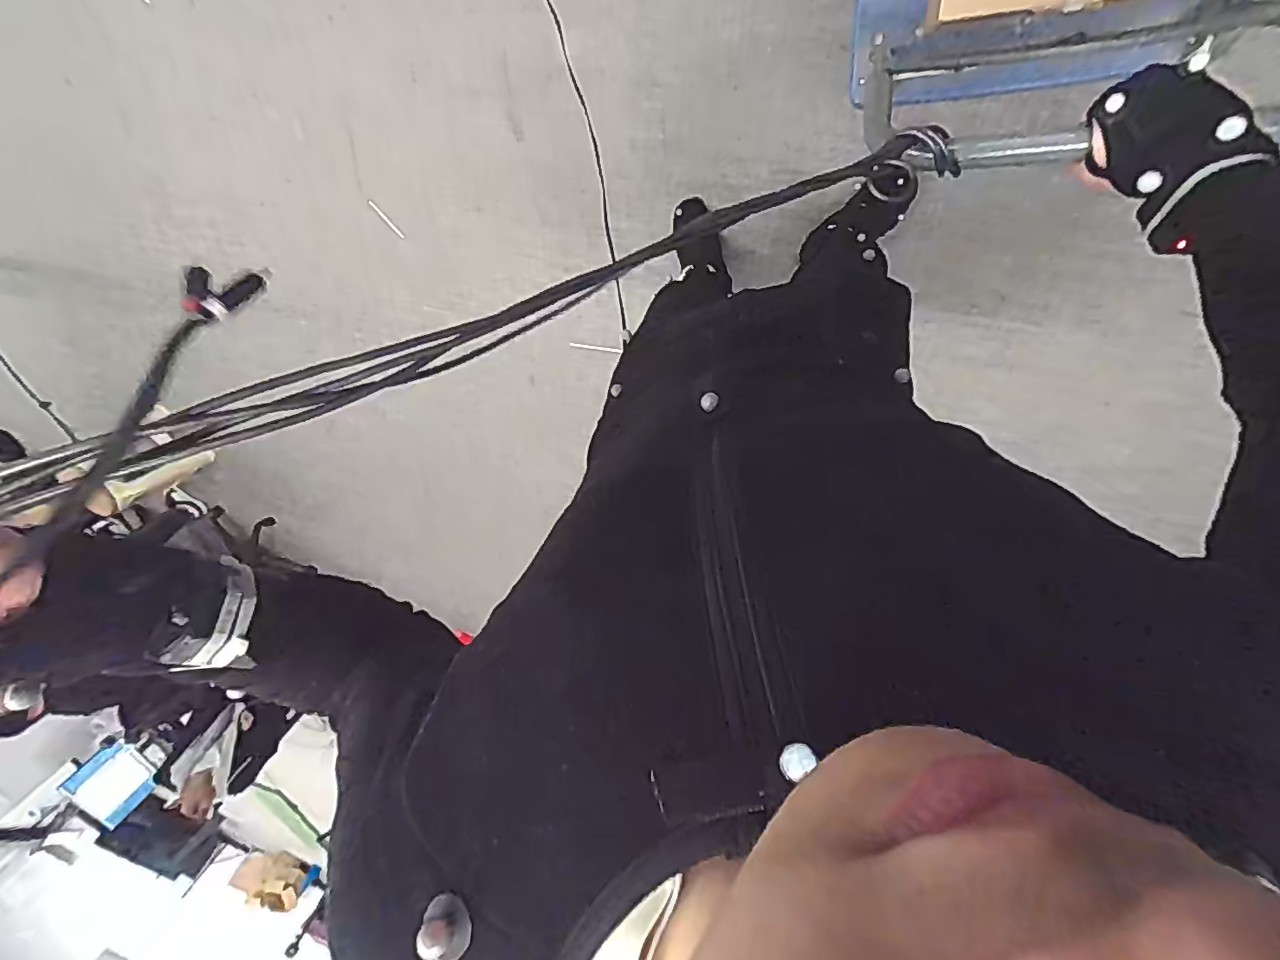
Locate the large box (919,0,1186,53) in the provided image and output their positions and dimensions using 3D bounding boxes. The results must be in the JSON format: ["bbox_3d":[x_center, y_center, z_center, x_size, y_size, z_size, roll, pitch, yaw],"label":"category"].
[{"bbox_3d":[0.580,-0.853,0.723,0.320,0.320,0.408,7,125,18],"label":"large box"}]
